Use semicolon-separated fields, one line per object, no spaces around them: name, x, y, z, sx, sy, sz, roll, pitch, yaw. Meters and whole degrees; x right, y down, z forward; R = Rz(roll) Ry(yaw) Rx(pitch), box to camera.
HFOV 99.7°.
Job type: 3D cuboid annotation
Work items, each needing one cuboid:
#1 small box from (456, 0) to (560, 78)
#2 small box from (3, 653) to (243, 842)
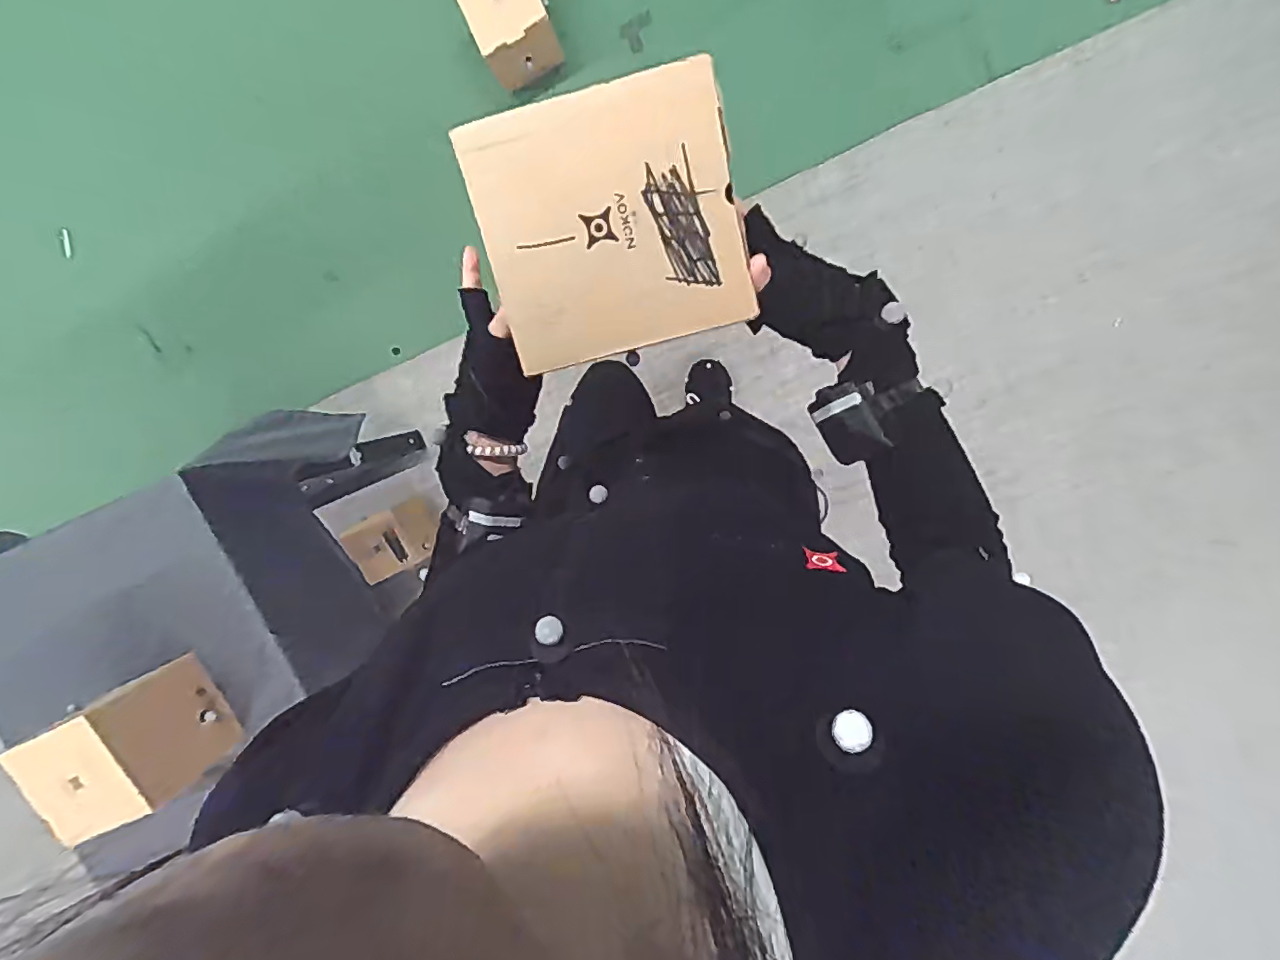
small box;-0.299;-1.048;1.210;0.168;0.176;0.179;-22;100;11
small box;-0.774;0.400;0.831;0.179;0.176;0.168;-25;99;11
